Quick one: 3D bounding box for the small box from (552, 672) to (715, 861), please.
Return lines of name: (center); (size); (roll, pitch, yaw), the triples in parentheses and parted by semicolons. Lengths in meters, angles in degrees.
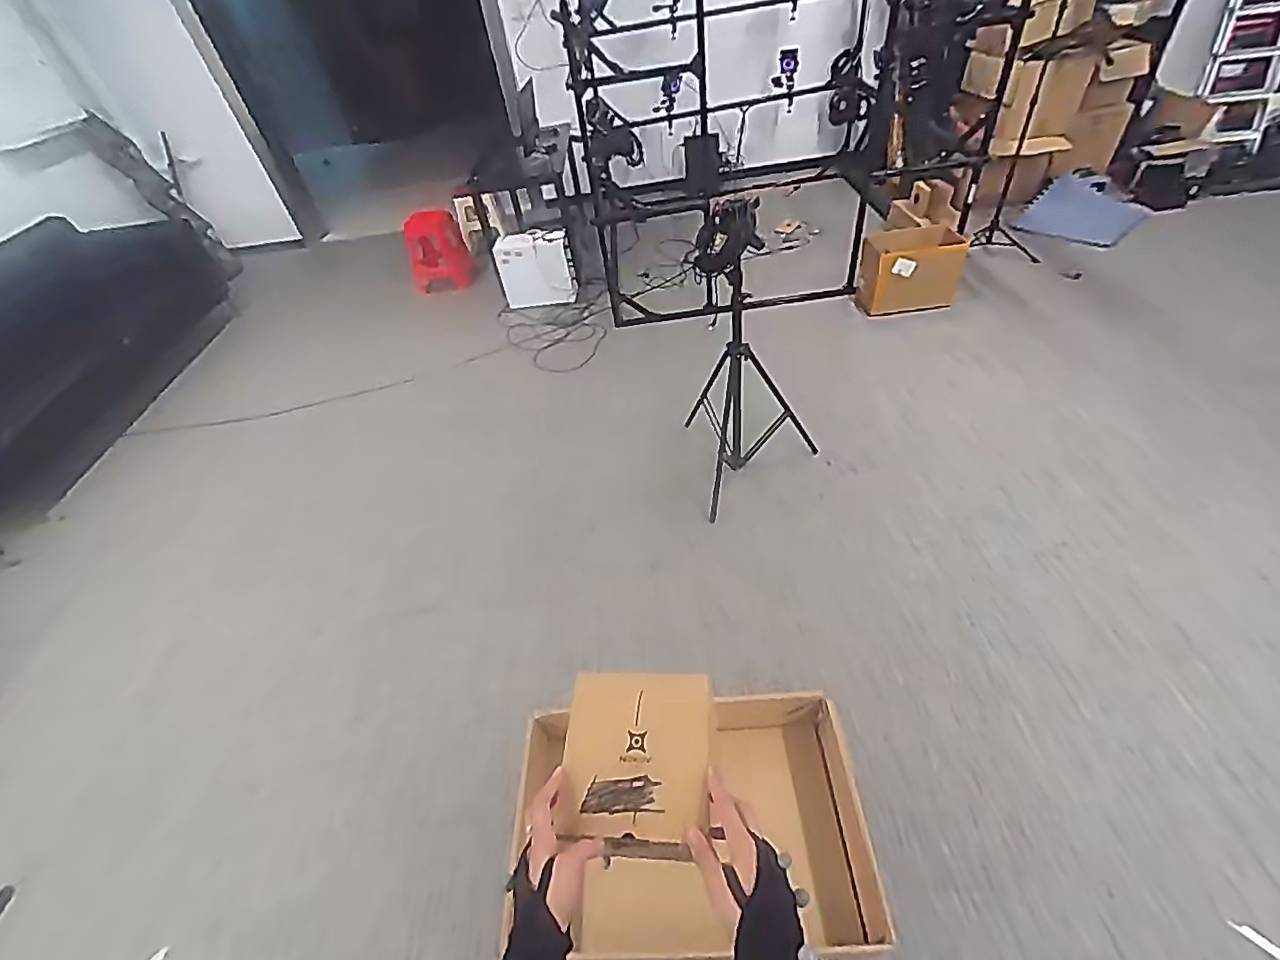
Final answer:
small box: (0.006, 0.353, 0.666); (0.168, 0.176, 0.179); (-2, 50, 9)
